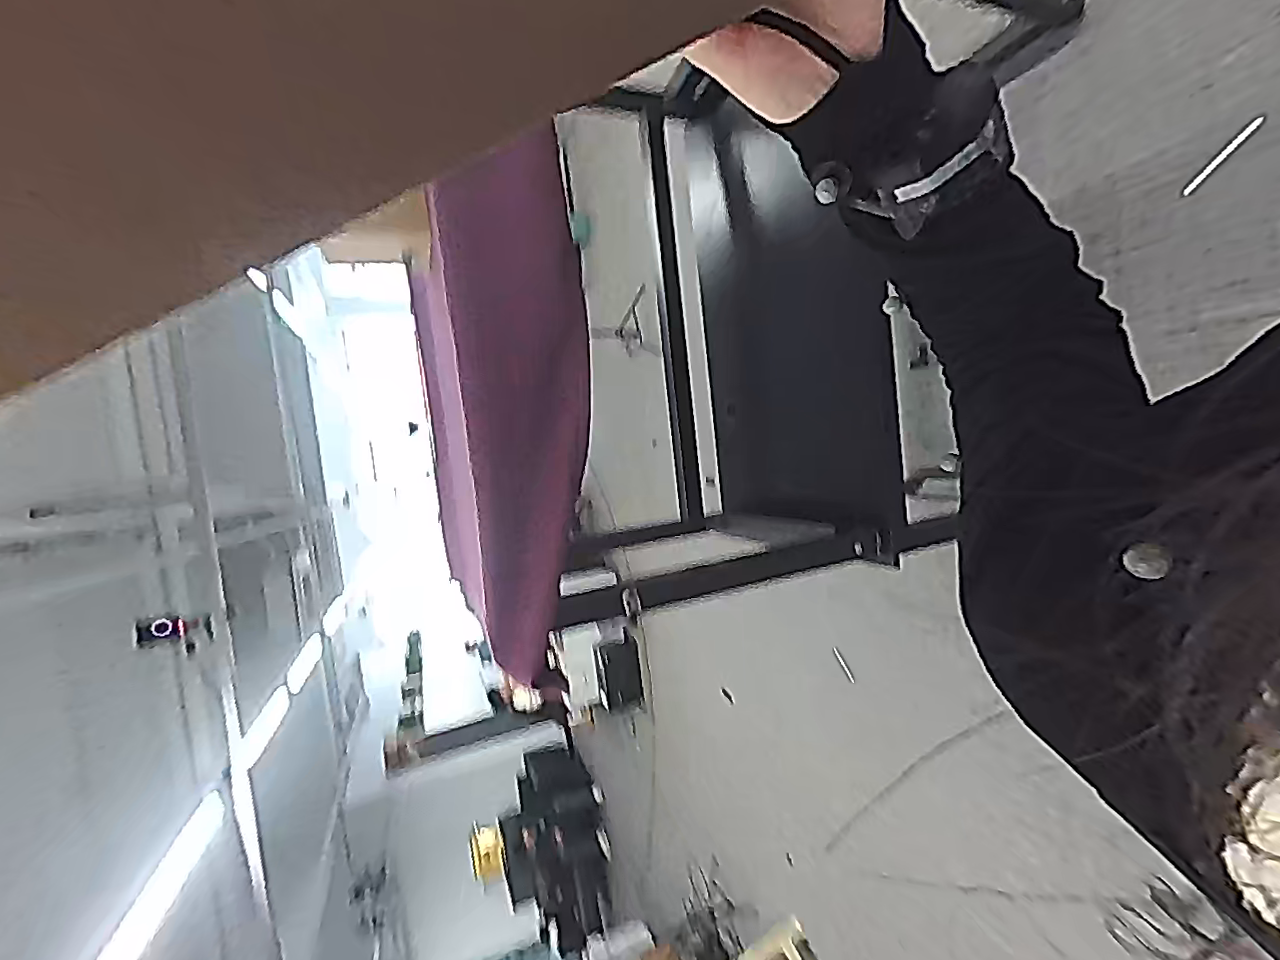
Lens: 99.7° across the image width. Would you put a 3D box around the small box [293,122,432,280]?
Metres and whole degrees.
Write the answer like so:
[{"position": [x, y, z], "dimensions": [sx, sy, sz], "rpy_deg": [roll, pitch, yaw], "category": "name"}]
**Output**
[{"position": [-0.440, -0.436, 0.877], "dimensions": [0.168, 0.176, 0.179], "rpy_deg": [-179, 81, -68], "category": "small box"}]
